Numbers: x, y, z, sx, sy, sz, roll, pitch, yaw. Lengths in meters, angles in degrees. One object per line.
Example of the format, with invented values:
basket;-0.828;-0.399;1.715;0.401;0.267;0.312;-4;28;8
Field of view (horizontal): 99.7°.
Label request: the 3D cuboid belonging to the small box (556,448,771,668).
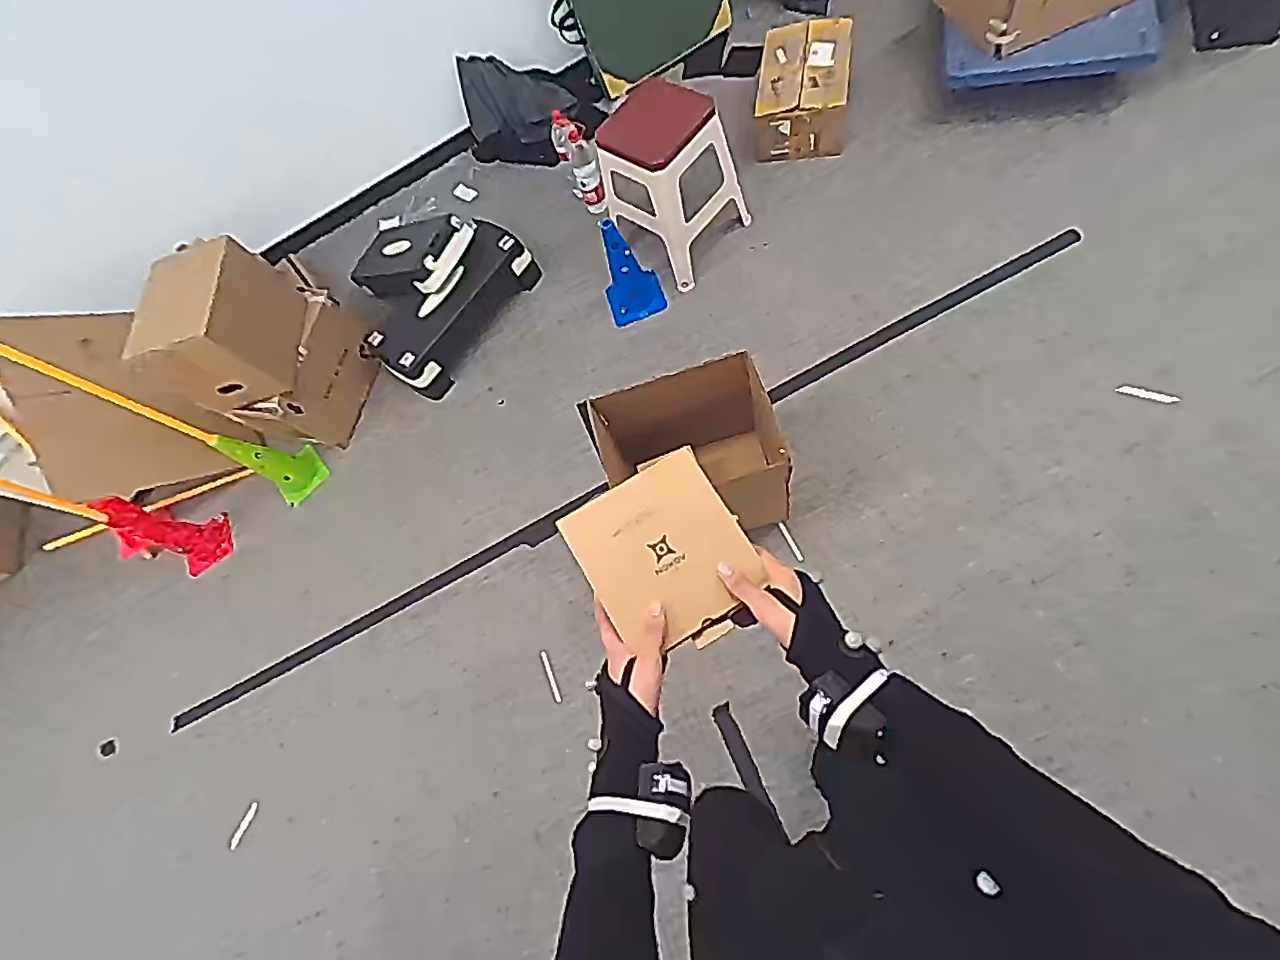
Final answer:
small box;0.025;0.096;0.633;0.168;0.176;0.179;-30;75;-7
